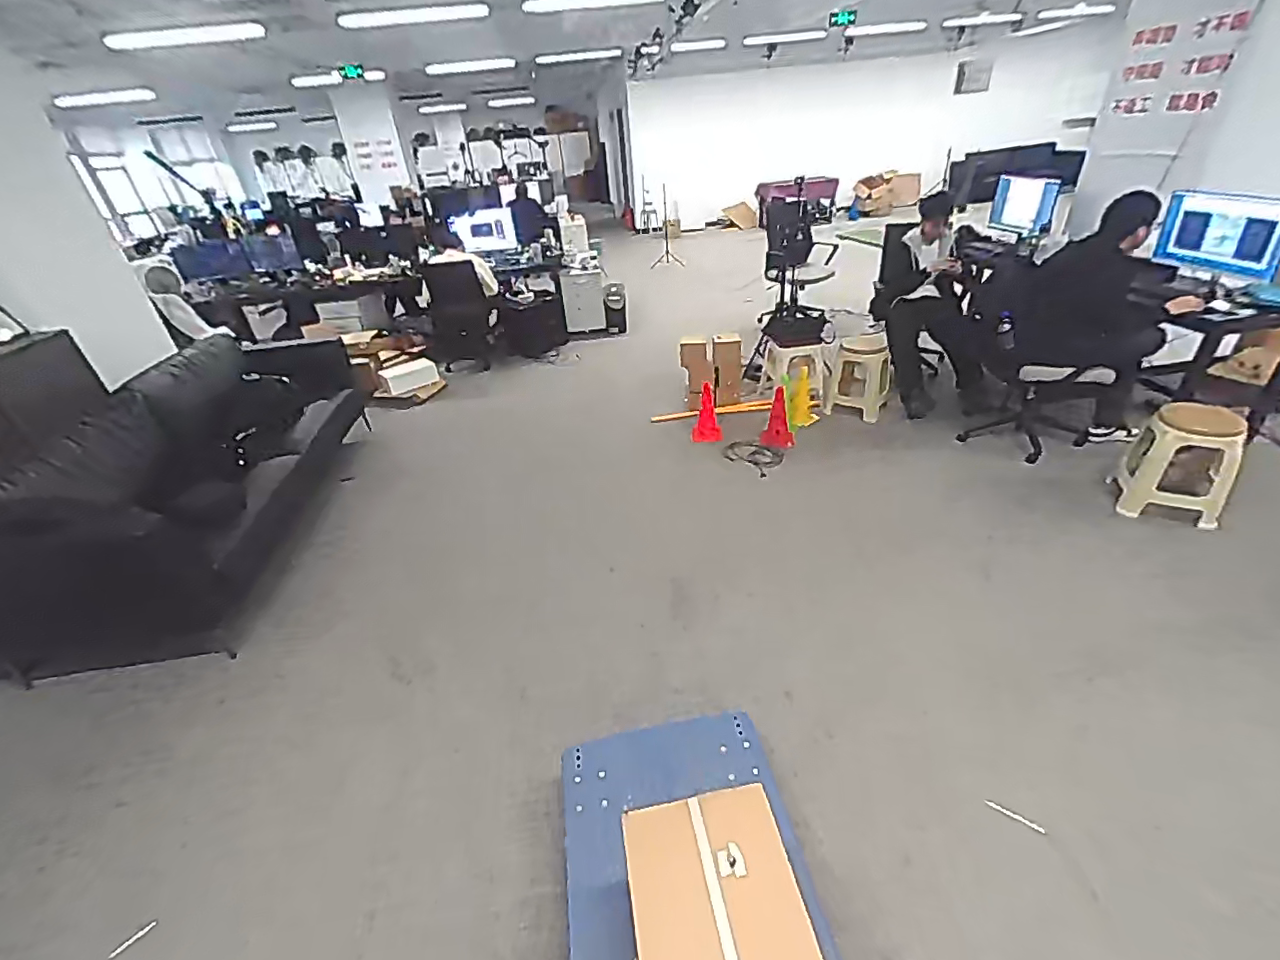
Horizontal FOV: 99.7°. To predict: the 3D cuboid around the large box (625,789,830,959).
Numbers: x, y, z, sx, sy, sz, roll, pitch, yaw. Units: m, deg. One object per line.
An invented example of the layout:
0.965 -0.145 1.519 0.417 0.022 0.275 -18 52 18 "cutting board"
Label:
0.168 0.913 1.052 0.320 0.320 0.408 -9 31 -5 "large box"
